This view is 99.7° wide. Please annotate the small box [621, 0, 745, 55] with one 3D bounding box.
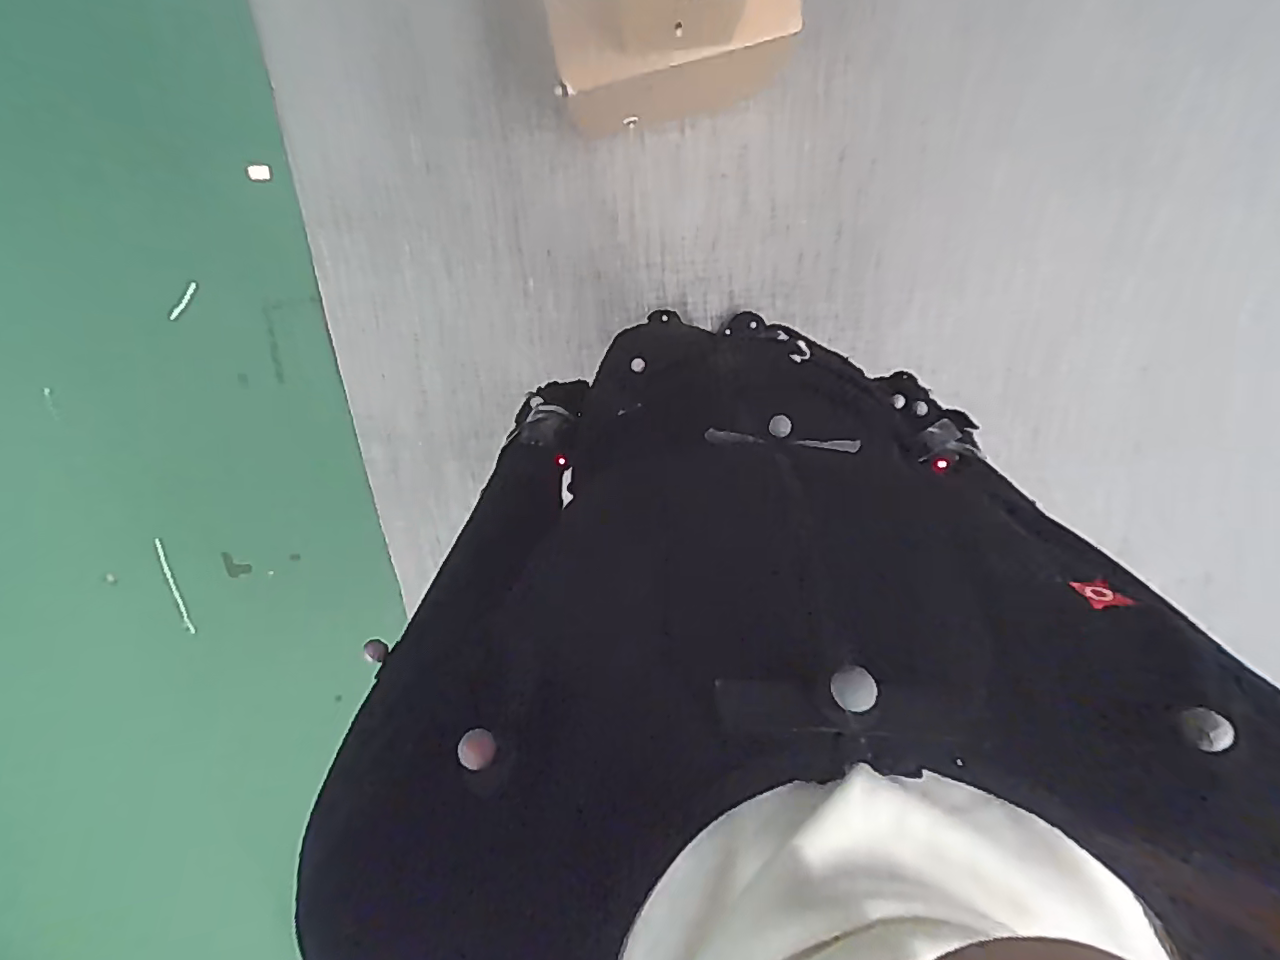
[{"bbox_3d":[0.056,-0.760,0.793,0.179,0.176,0.168,-5,110,4],"label":"small box"}]
